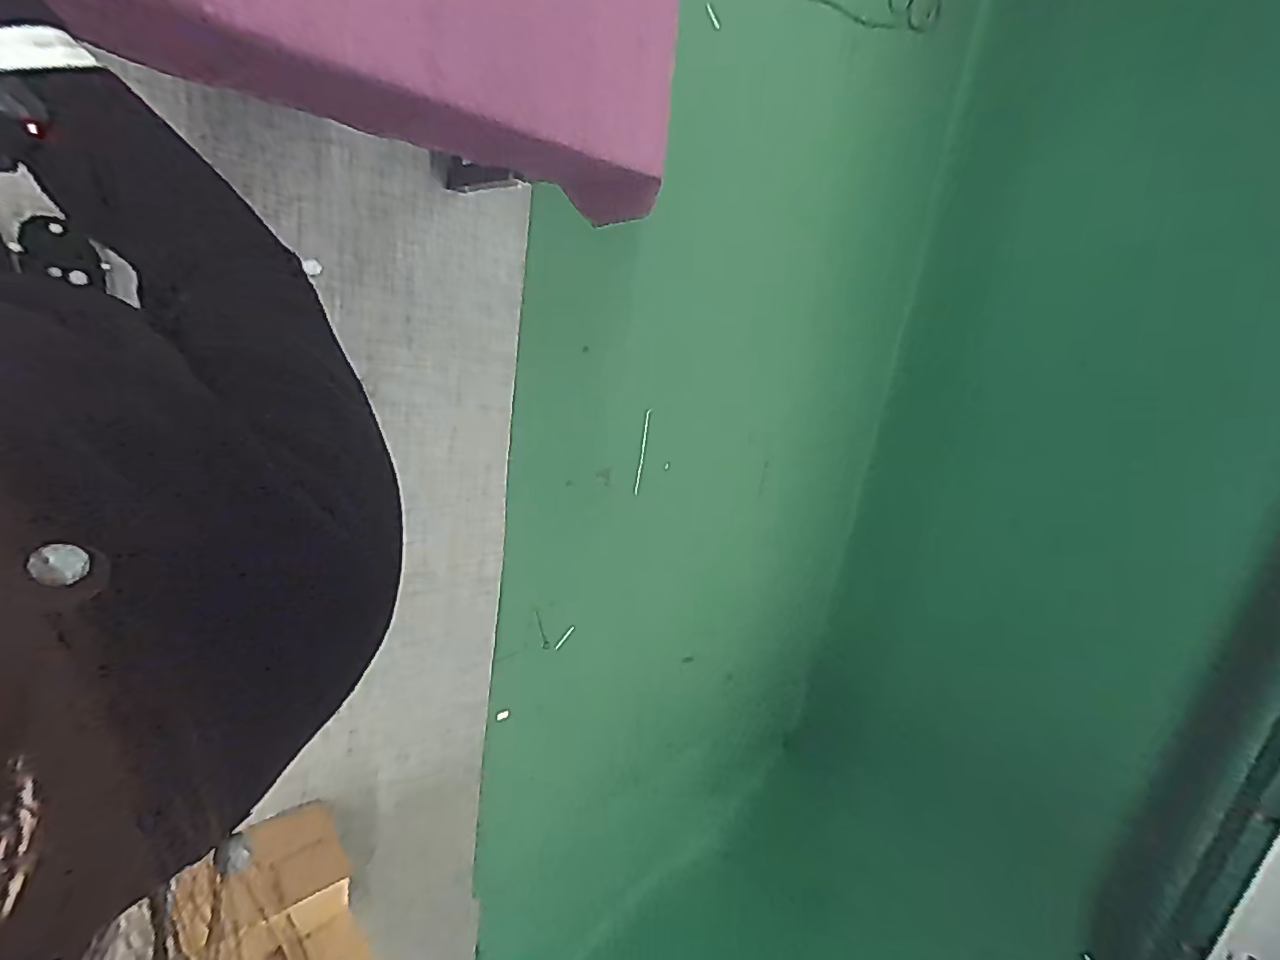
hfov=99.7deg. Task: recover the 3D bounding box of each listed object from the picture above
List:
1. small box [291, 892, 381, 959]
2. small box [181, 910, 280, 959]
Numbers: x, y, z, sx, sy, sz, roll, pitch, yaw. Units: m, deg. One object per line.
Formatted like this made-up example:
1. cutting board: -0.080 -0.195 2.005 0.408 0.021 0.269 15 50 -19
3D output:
1. small box: -0.810 1.264 1.437 0.168 0.176 0.179 -6 113 -47
2. small box: -0.943 1.159 1.239 0.179 0.176 0.168 -8 114 -46
